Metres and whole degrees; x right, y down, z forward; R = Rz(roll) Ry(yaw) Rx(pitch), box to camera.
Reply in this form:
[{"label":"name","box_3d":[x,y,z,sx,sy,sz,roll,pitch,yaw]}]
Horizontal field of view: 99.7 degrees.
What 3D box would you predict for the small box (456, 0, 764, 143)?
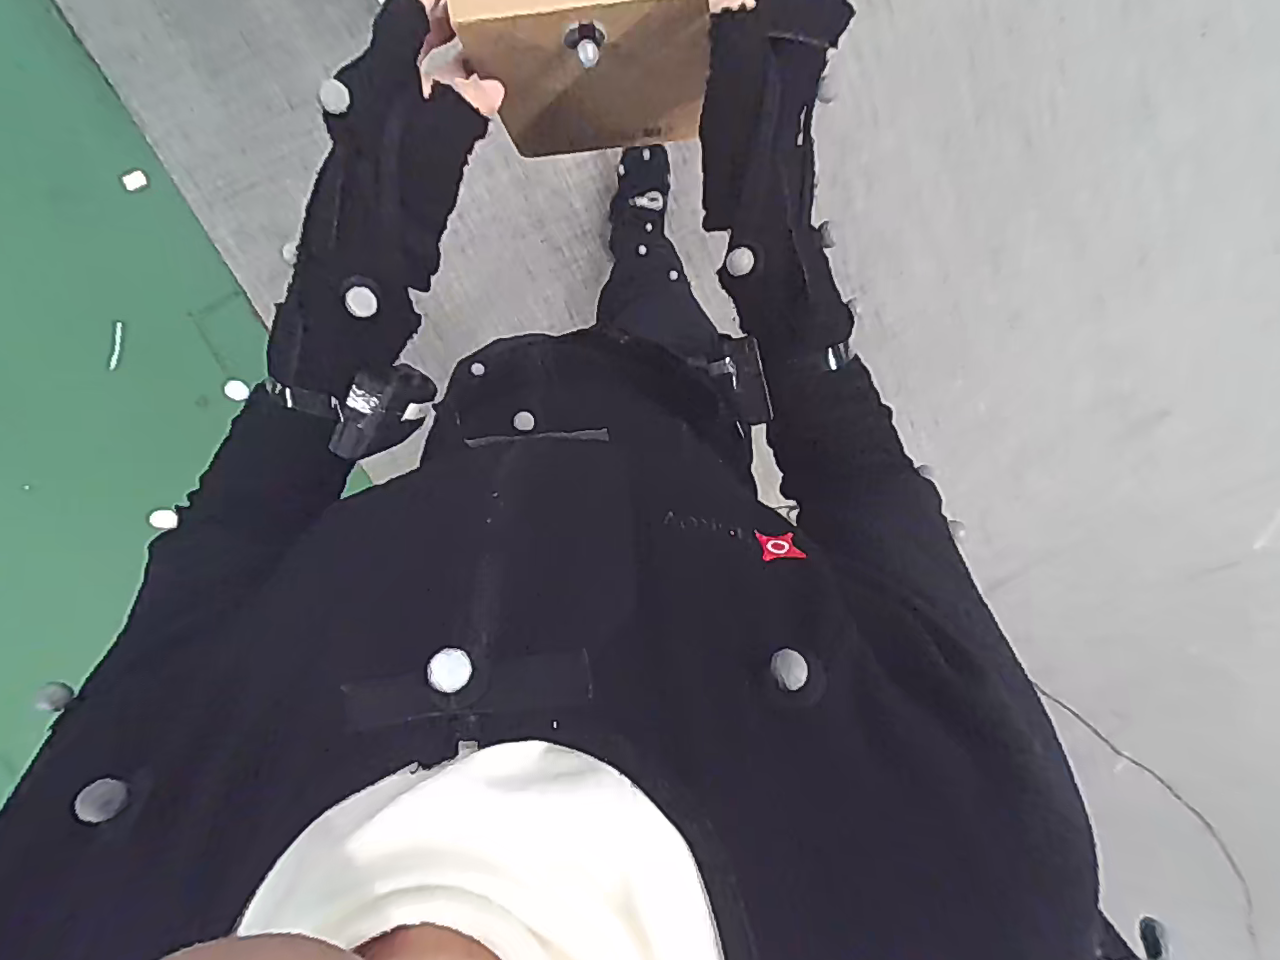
[{"label":"small box","box_3d":[-0.023,-0.343,0.332,0.168,0.176,0.179,-6,101,1]}]
